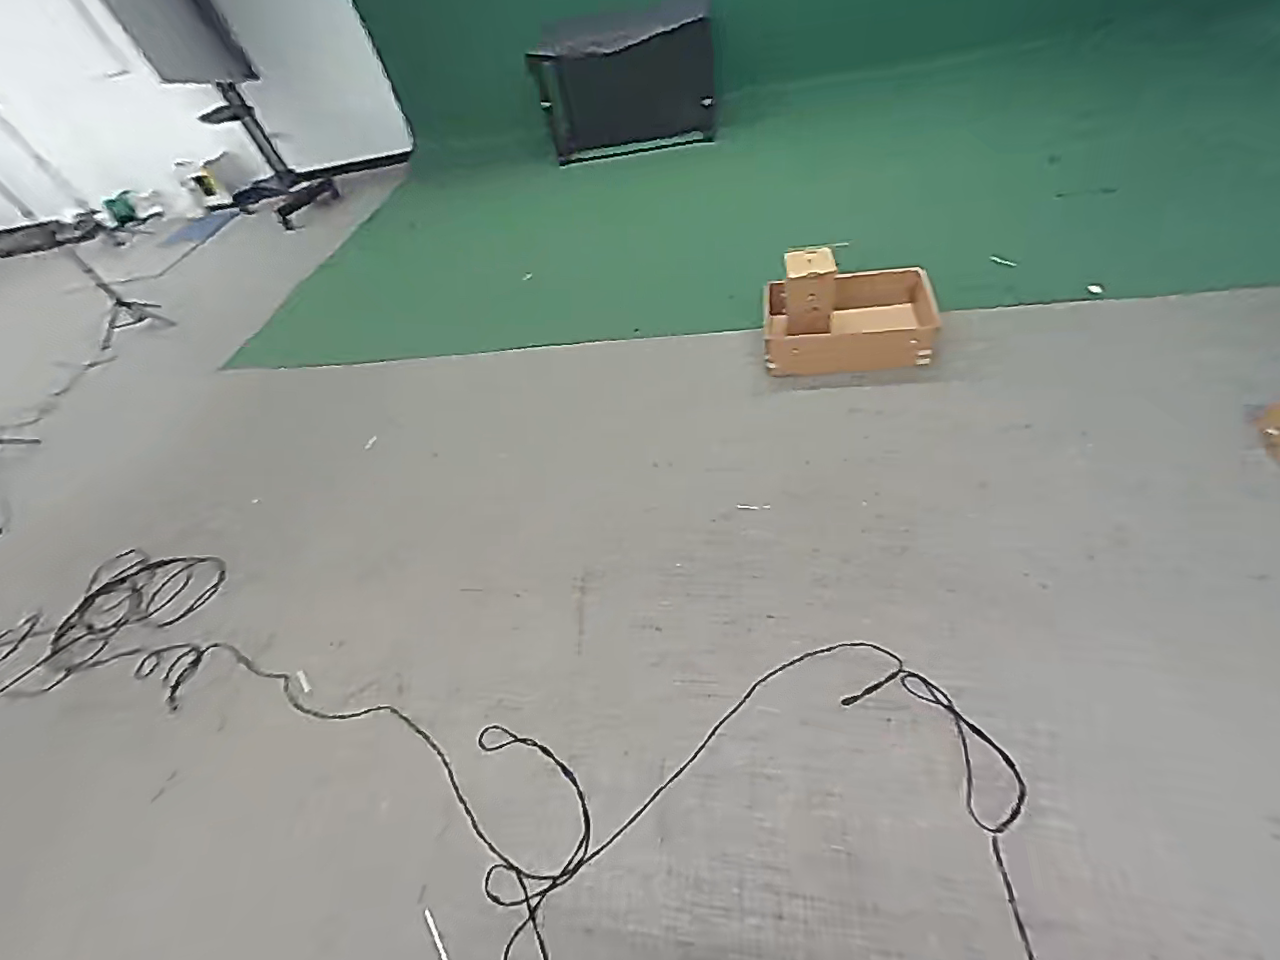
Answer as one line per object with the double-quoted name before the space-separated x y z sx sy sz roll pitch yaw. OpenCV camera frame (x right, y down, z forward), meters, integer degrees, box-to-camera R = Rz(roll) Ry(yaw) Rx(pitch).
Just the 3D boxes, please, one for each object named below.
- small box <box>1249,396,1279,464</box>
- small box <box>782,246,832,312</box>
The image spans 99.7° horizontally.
"small box" 1.903 -0.152 1.517 0.179 0.176 0.168 3 51 17
"small box" 0.634 -0.757 2.061 0.168 0.176 0.179 -3 52 12
